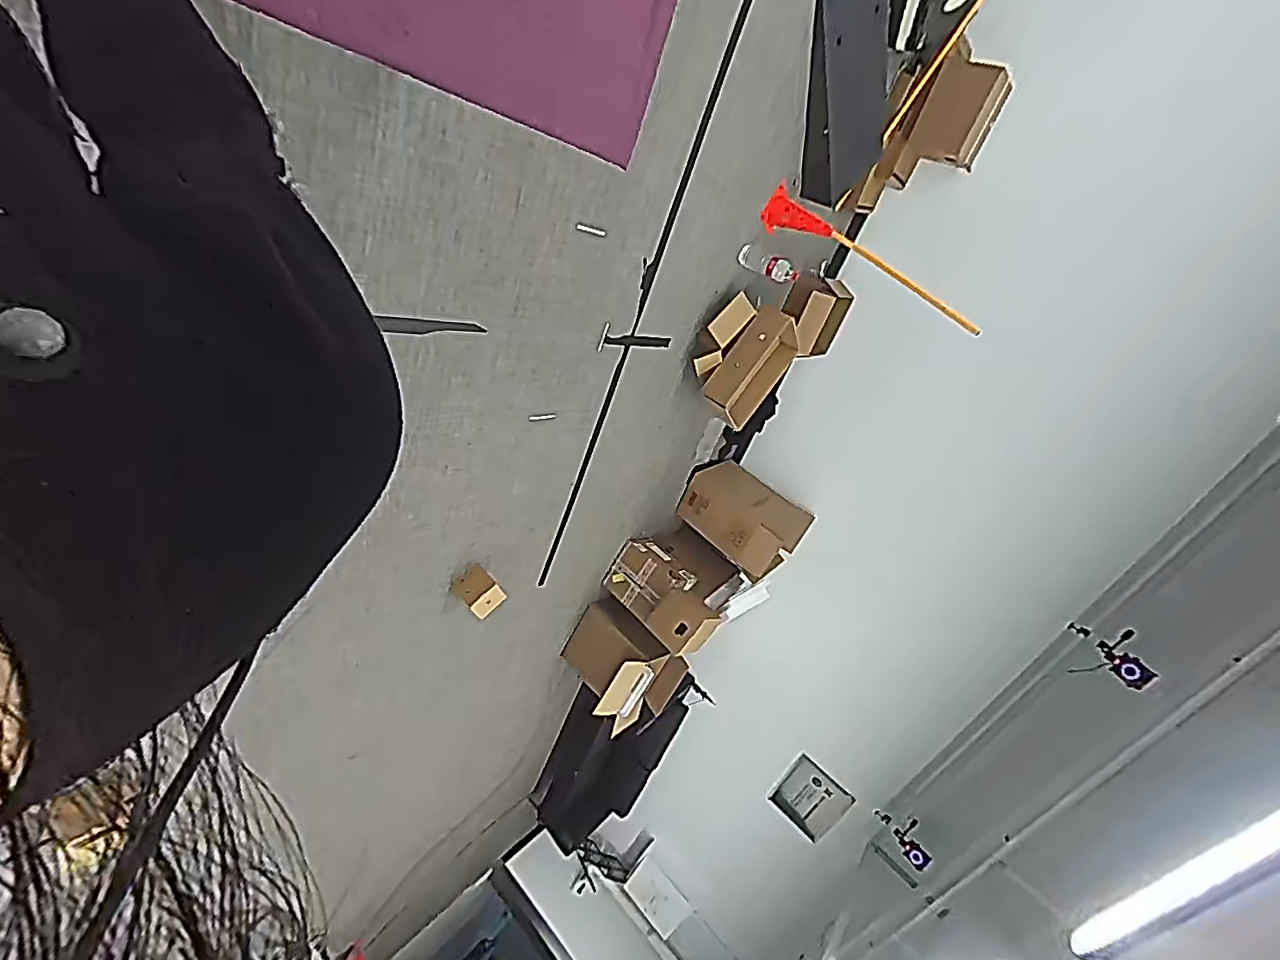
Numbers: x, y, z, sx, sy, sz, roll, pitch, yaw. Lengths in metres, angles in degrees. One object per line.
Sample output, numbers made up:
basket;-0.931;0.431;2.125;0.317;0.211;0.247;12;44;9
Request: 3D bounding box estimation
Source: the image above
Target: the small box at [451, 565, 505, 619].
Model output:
small box;-0.799;0.545;2.657;0.168;0.176;0.179;-42;154;-19
